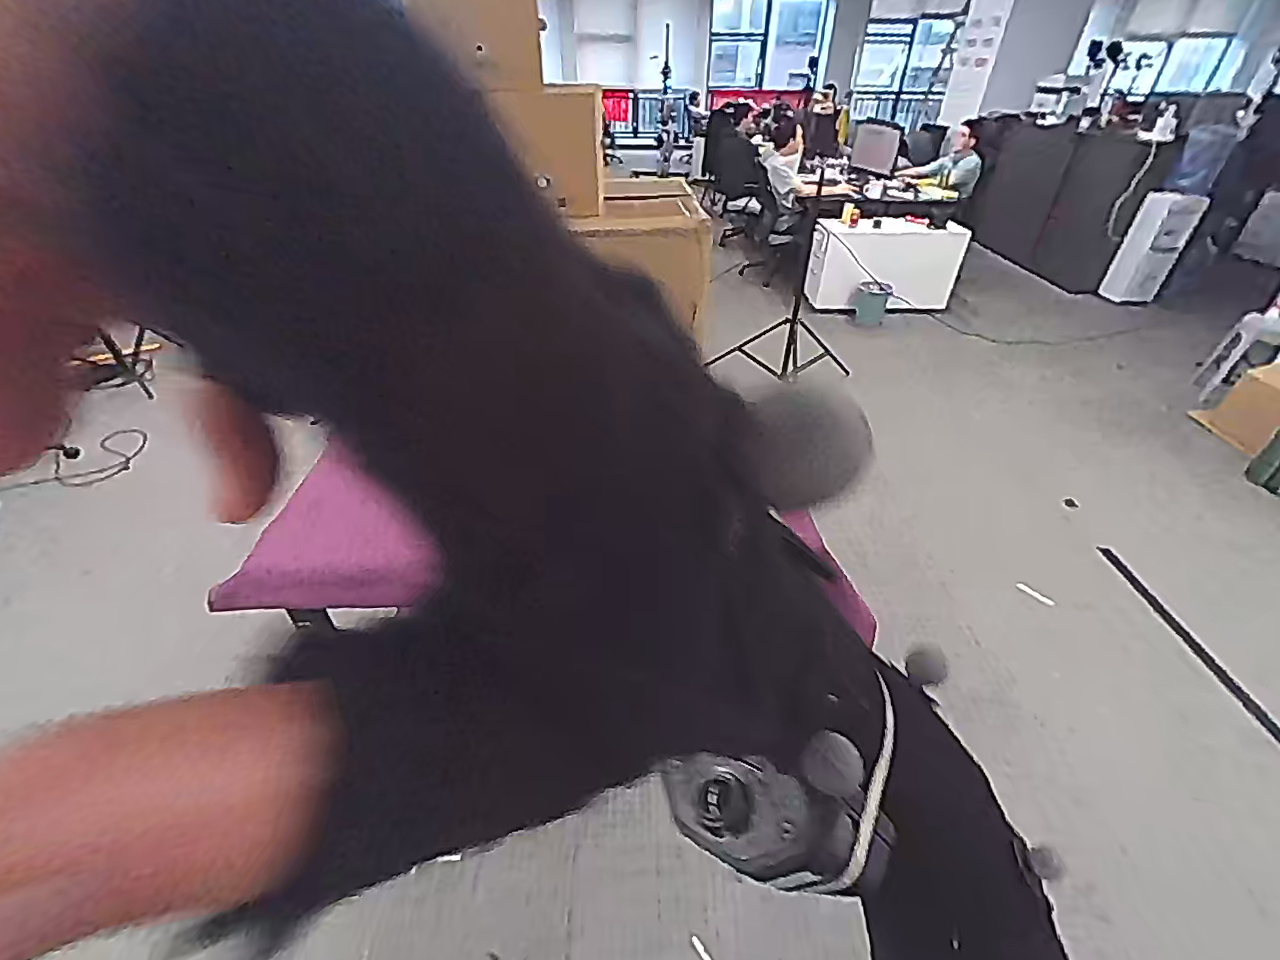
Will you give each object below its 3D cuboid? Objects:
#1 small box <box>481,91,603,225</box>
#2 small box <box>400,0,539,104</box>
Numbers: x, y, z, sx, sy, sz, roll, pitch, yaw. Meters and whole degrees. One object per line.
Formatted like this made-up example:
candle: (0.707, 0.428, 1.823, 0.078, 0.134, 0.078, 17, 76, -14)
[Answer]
small box: (-0.150, -0.535, 0.894, 0.168, 0.176, 0.179, -1, 40, 0)
small box: (-0.242, -0.657, 0.785, 0.179, 0.176, 0.168, -7, 39, -10)
